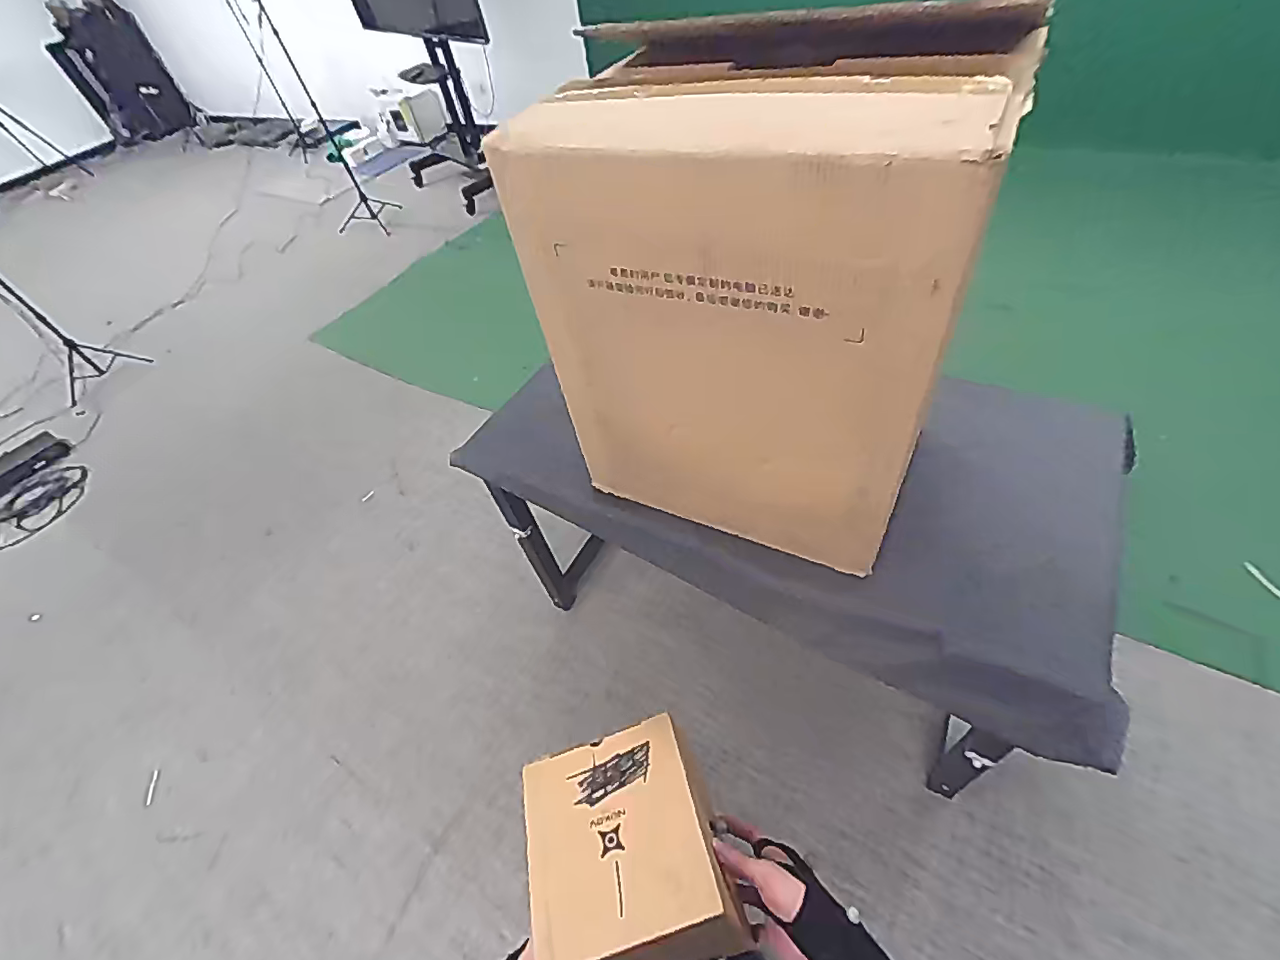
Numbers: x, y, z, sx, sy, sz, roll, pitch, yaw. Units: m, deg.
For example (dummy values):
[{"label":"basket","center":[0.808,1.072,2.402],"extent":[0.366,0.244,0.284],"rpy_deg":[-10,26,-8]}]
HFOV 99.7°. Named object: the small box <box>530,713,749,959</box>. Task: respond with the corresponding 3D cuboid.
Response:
[{"label":"small box","center":[-0.002,0.380,0.555],"extent":[0.168,0.176,0.179],"rpy_deg":[-21,41,1]}]
